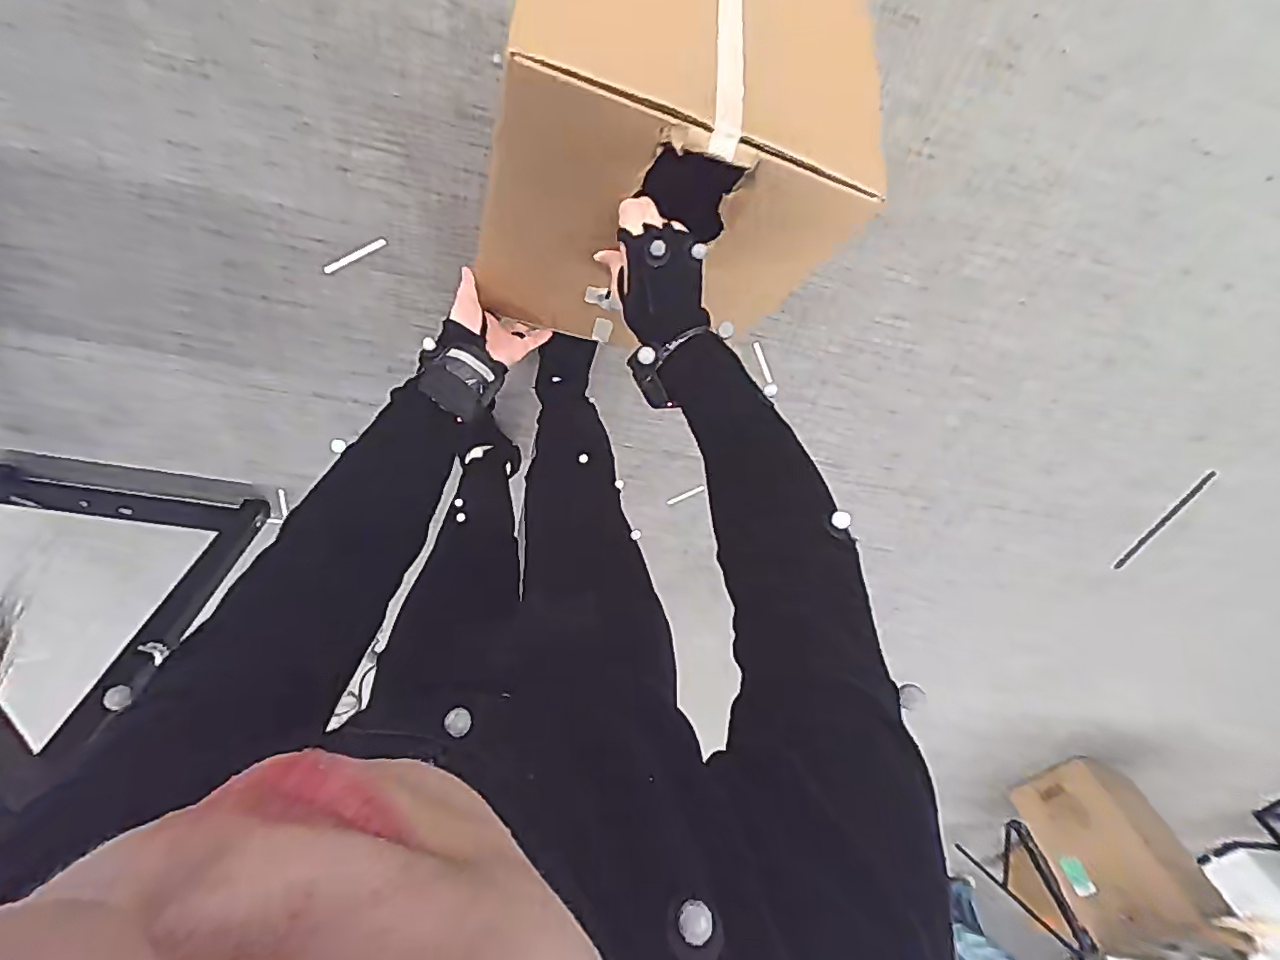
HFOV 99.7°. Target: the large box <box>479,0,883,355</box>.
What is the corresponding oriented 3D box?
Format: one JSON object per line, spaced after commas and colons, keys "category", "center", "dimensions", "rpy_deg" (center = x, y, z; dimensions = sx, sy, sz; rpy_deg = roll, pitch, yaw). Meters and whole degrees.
{"category": "large box", "center": [0.013, -0.402, 0.583], "dimensions": [0.320, 0.408, 0.320], "rpy_deg": [9, 162, -19]}
